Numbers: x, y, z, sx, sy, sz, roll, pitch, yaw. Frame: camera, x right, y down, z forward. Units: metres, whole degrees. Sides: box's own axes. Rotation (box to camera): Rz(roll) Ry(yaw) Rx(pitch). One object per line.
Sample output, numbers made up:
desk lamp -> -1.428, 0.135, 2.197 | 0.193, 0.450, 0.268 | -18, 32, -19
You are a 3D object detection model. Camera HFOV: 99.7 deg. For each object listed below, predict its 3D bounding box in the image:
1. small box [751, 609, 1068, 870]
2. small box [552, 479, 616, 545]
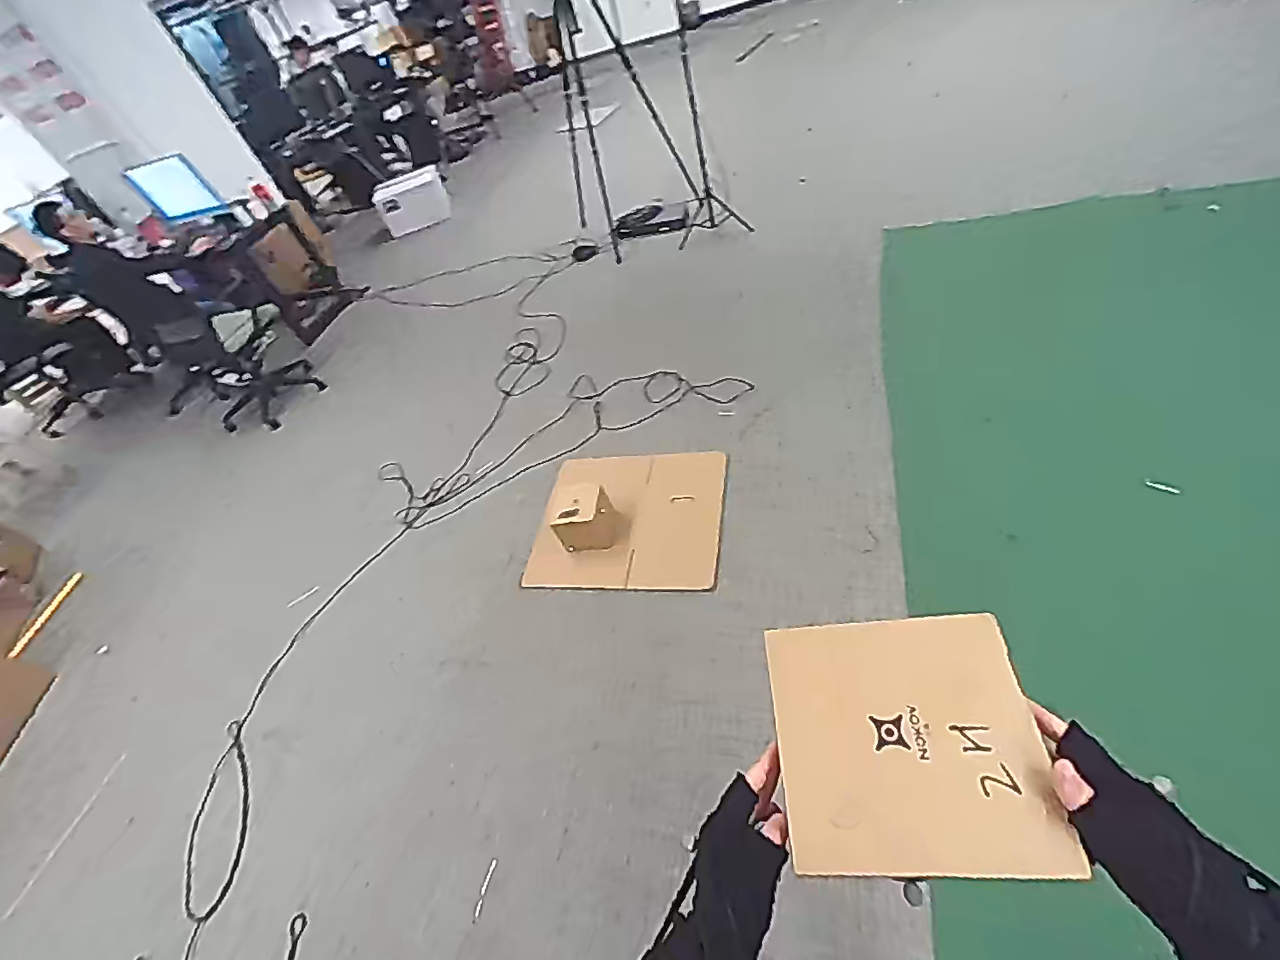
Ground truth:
small box -> 0.195, 0.220, 0.449 | 0.179, 0.176, 0.168 | -8, 55, 11
small box -> -0.193, 0.121, 1.934 | 0.168, 0.176, 0.179 | -6, 47, 16
